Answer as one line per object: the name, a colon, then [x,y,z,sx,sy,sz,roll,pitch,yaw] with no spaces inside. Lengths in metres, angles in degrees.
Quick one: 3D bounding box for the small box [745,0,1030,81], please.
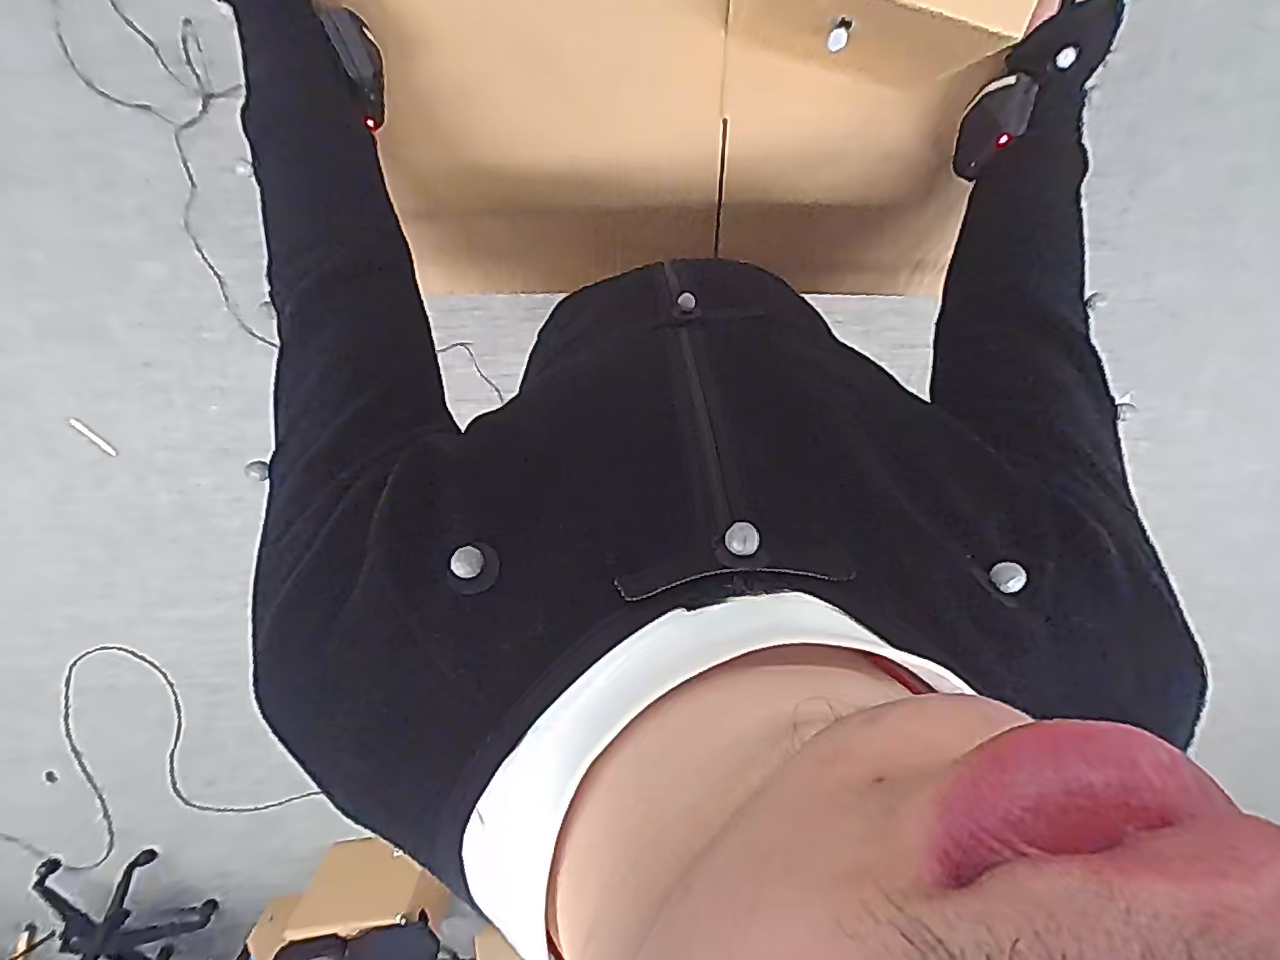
small box: [0.186,-0.418,0.389,0.179,0.176,0.168,13,116,-4]
